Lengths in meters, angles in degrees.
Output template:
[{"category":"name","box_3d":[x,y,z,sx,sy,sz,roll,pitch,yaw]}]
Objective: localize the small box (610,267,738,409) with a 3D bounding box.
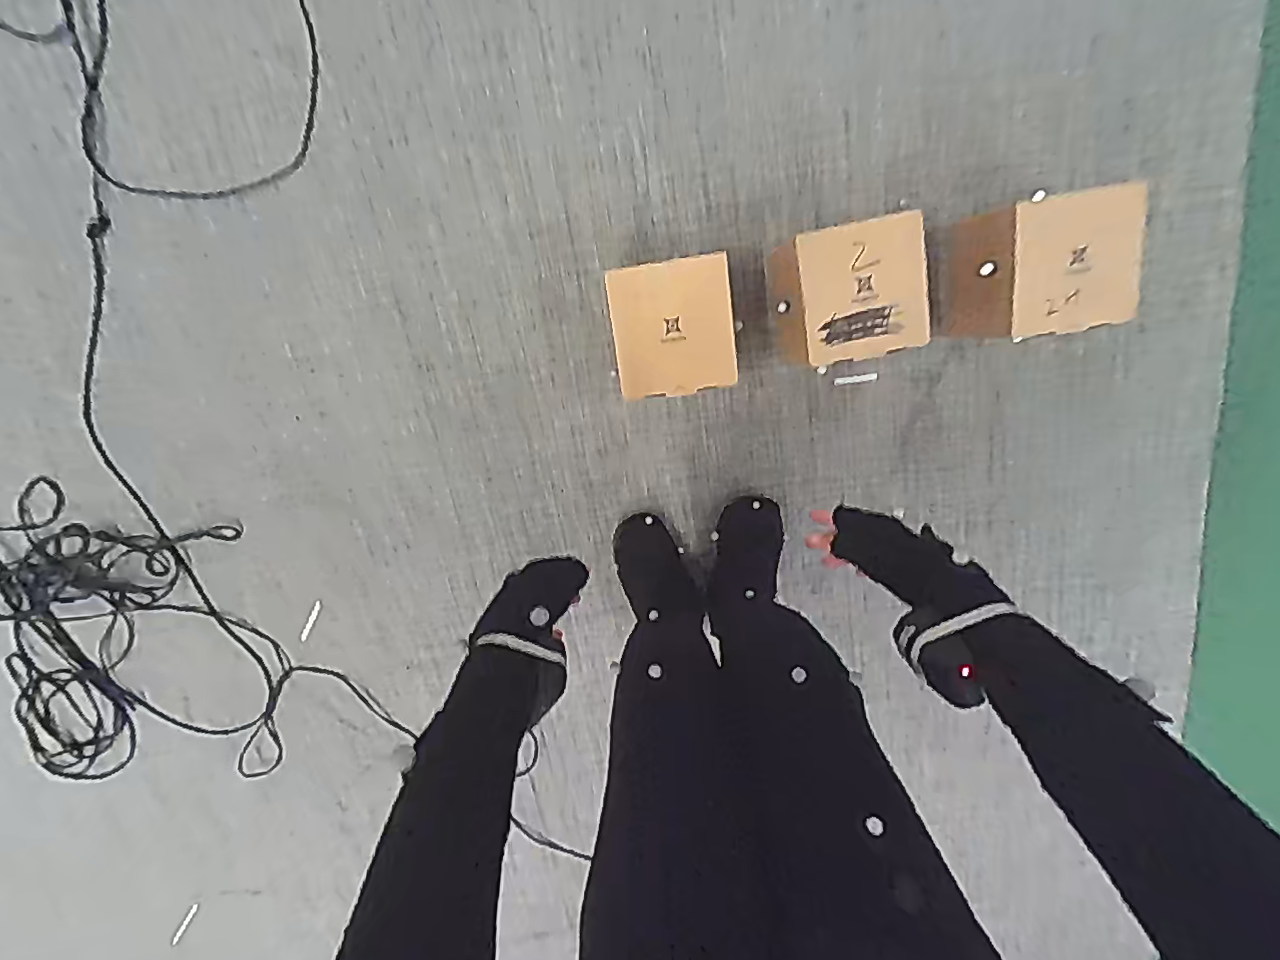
[{"category":"small box","box_3d":[0.049,-0.215,0.830,0.168,0.176,0.179,-8,105,3]}]

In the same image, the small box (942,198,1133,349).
[{"category":"small box","box_3d":[0.573,-0.294,0.803,0.168,0.176,0.179,-8,106,3]}]
